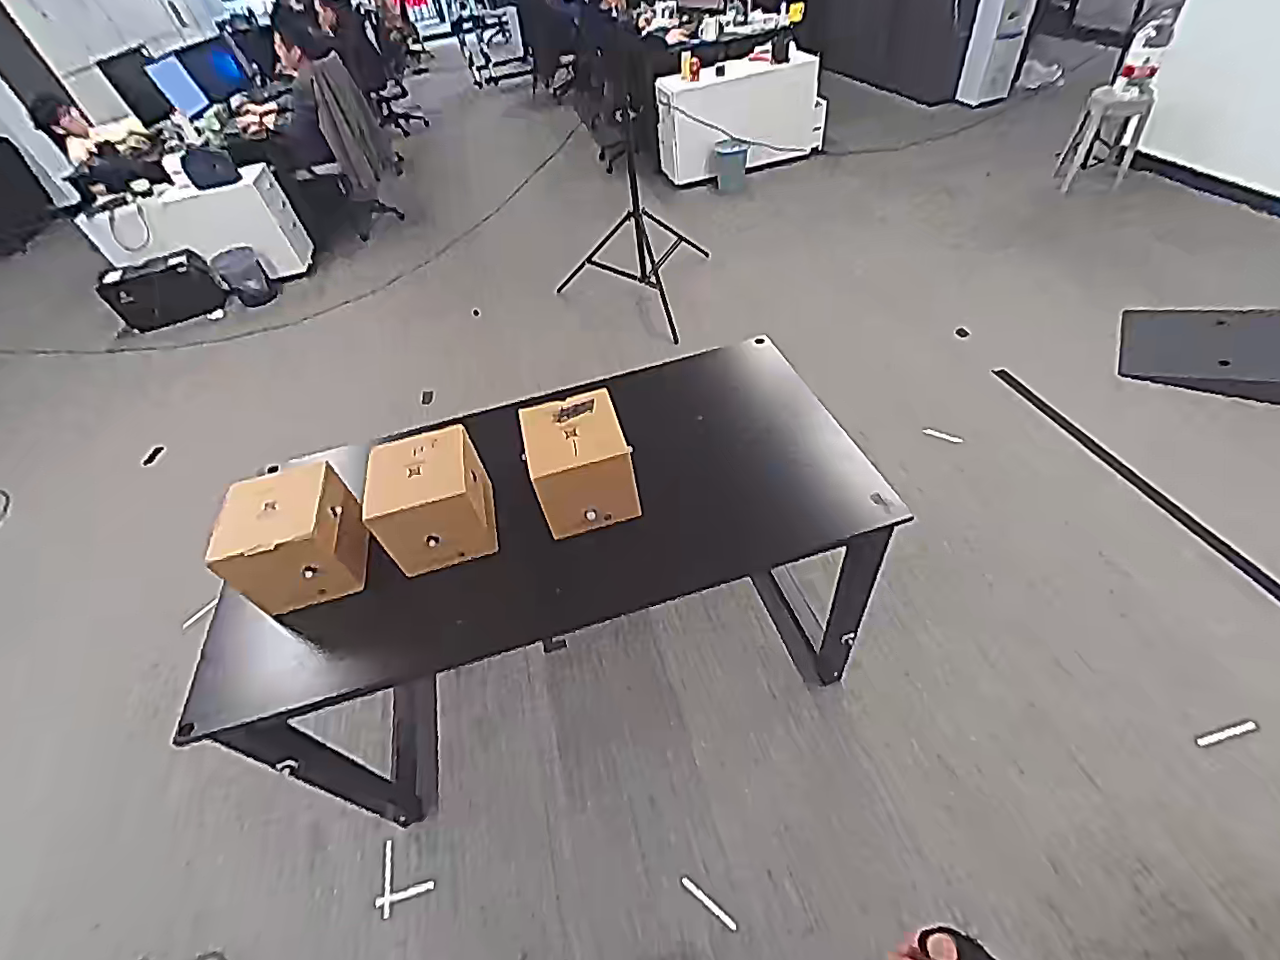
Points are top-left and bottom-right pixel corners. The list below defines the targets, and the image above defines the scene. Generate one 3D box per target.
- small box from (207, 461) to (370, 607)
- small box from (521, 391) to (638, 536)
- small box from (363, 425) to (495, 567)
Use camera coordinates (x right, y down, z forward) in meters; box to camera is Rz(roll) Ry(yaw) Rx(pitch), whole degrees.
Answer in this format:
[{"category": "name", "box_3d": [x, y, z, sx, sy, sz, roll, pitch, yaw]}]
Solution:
[{"category": "small box", "box_3d": [-0.595, 0.100, 0.944, 0.168, 0.176, 0.179, -15, 46, -7]}, {"category": "small box", "box_3d": [-0.107, -0.028, 0.978, 0.168, 0.176, 0.179, -16, 48, -5]}, {"category": "small box", "box_3d": [-0.364, 0.035, 0.961, 0.168, 0.176, 0.179, -15, 47, -5]}]
